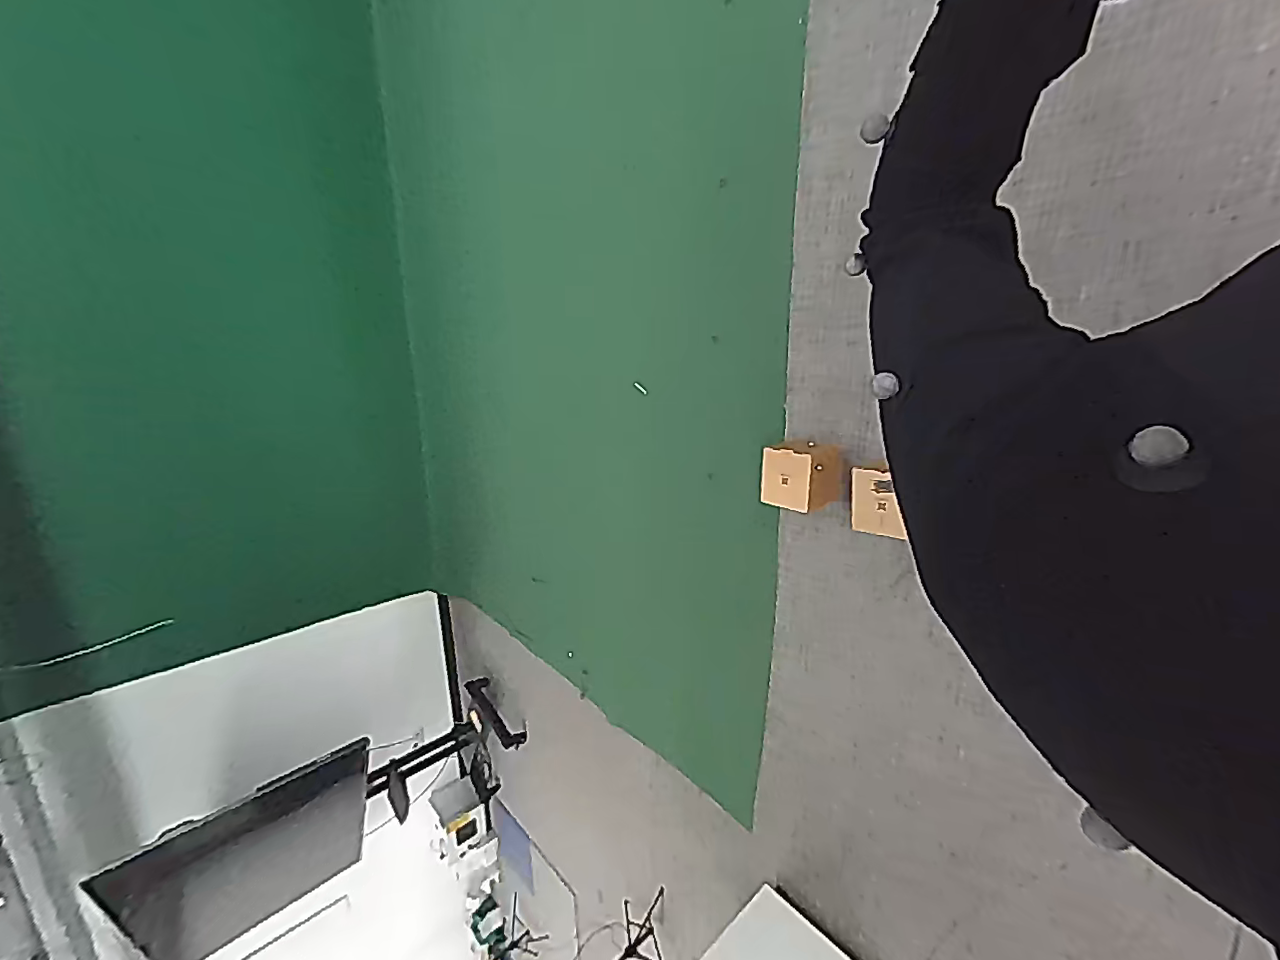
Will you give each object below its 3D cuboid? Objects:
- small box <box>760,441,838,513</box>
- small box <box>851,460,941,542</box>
[{"bbox_3d":[0.483,-0.015,1.640,0.168,0.176,0.179,15,110,46],"label":"small box"},{"bbox_3d":[0.677,0.045,1.430,0.168,0.176,0.179,10,108,48],"label":"small box"}]
